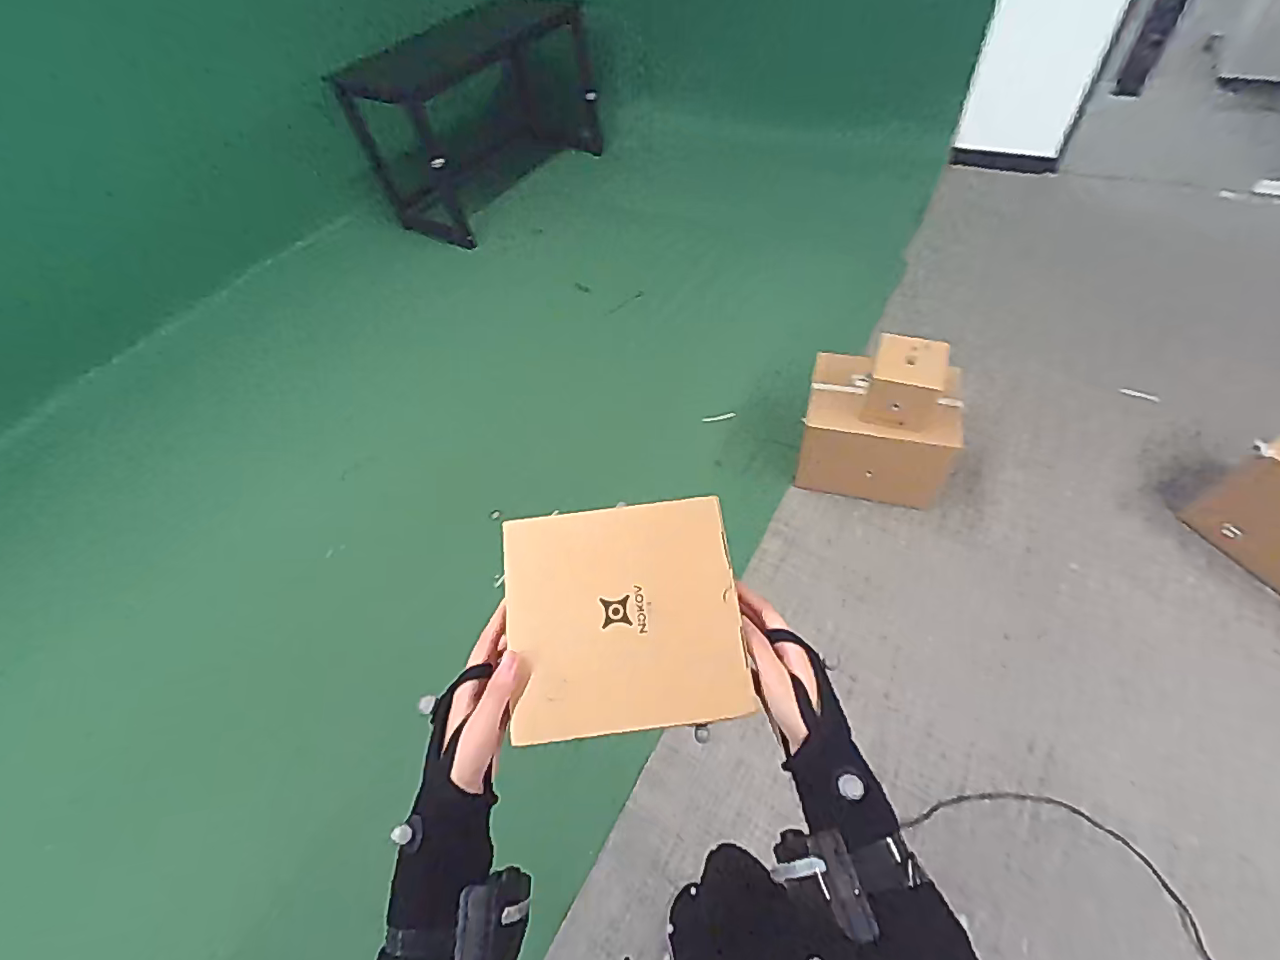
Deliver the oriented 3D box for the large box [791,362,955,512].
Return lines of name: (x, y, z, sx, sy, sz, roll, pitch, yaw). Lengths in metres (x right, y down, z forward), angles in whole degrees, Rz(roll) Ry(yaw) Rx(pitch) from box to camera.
large box: (0.702, -0.132, 1.673, 0.408, 0.320, 0.320, 10, 55, 16)

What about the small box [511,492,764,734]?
small box: (-0.006, 0.123, 0.474, 0.179, 0.176, 0.168, -6, 68, -3)

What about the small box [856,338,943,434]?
small box: (0.691, -0.249, 1.452, 0.168, 0.176, 0.179, 16, 58, 17)
